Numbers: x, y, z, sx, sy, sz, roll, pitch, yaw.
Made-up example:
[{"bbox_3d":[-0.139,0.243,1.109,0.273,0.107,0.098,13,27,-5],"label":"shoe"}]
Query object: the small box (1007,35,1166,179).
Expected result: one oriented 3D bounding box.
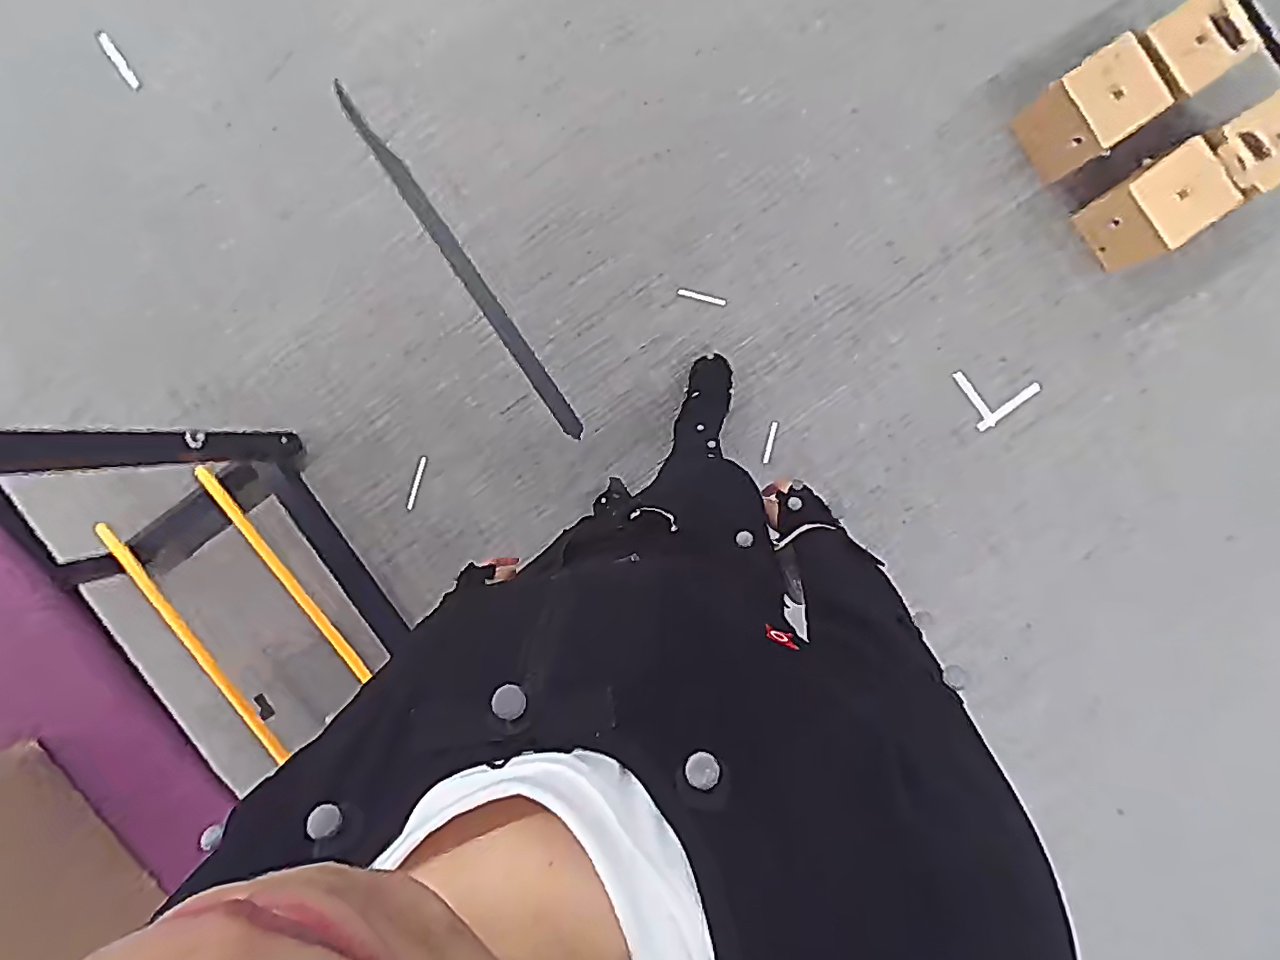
[{"bbox_3d":[0.972,-0.803,1.194,0.168,0.176,0.179,-35,92,4],"label":"small box"}]
